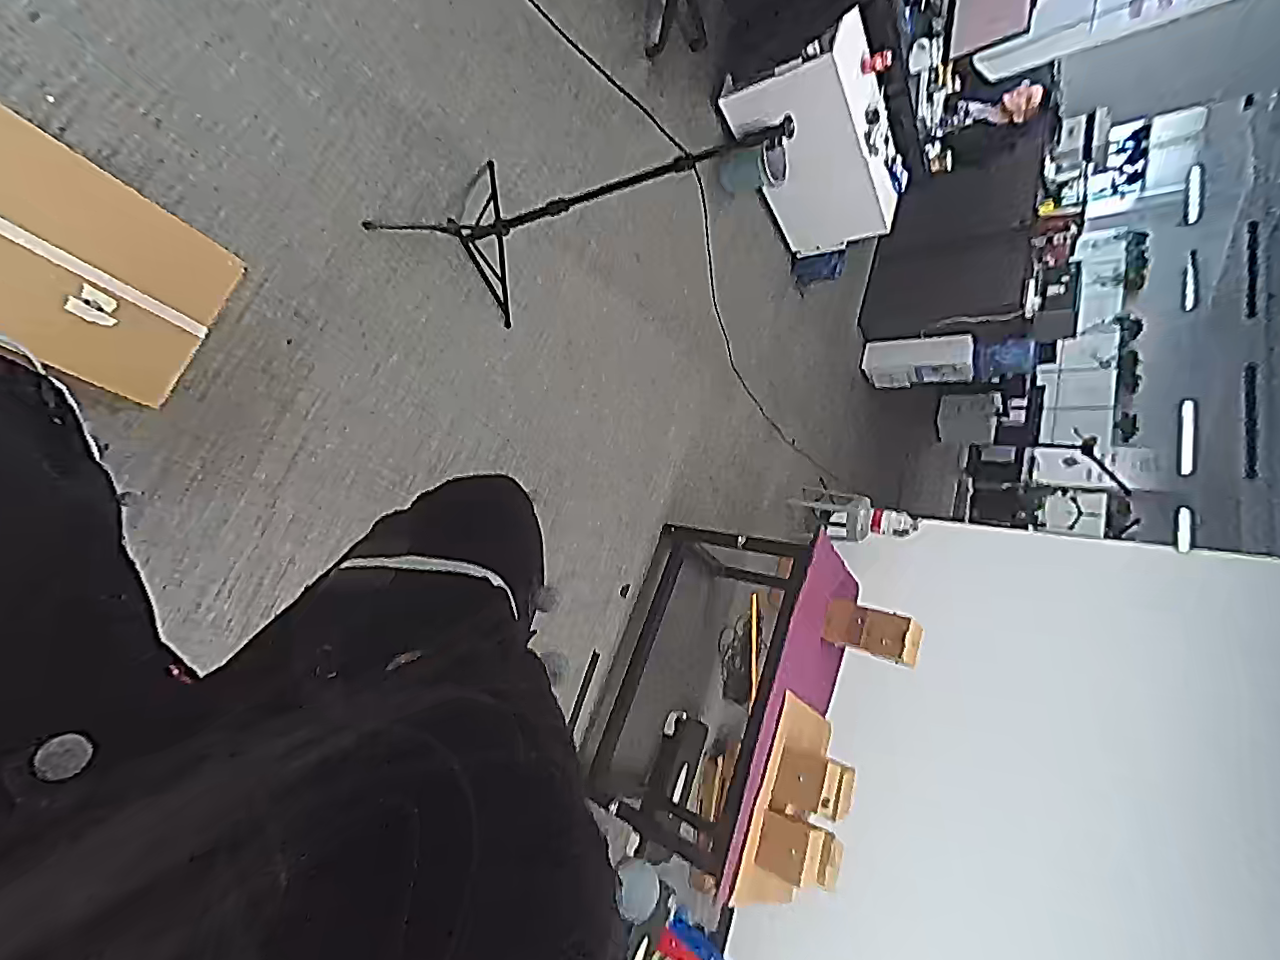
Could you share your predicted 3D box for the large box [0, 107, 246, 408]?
[{"bbox_3d":[-1.004,-0.351,0.912,0.408,0.320,0.320,37,66,-47],"label":"large box"}]
